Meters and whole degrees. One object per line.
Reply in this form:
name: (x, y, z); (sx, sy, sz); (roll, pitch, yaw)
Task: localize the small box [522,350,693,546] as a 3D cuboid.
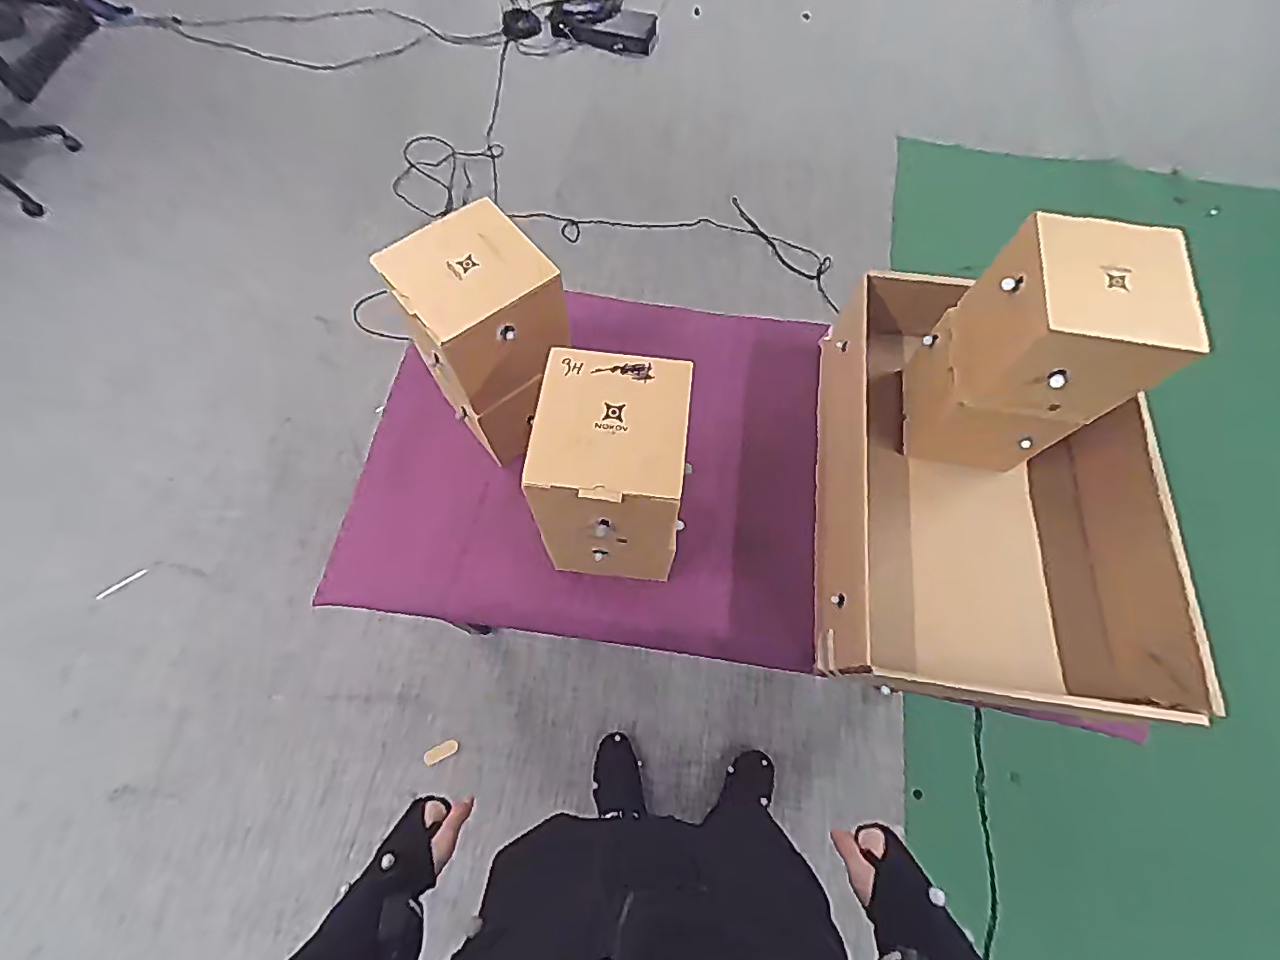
small box: (-0.032, -0.029, 0.653); (0.168, 0.176, 0.179); (7, 66, 1)

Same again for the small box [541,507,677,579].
small box: (-0.036, 0.042, 0.800); (0.179, 0.176, 0.168); (6, 66, 1)

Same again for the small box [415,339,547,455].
small box: (-0.225, -0.161, 0.883); (0.168, 0.176, 0.179); (-37, 73, -16)

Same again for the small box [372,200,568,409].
small box: (-0.215, -0.228, 0.734); (0.179, 0.176, 0.168); (-37, 74, -16)

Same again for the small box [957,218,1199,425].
small box: (0.525, -0.189, 0.679); (0.168, 0.176, 0.179); (10, 68, 4)
